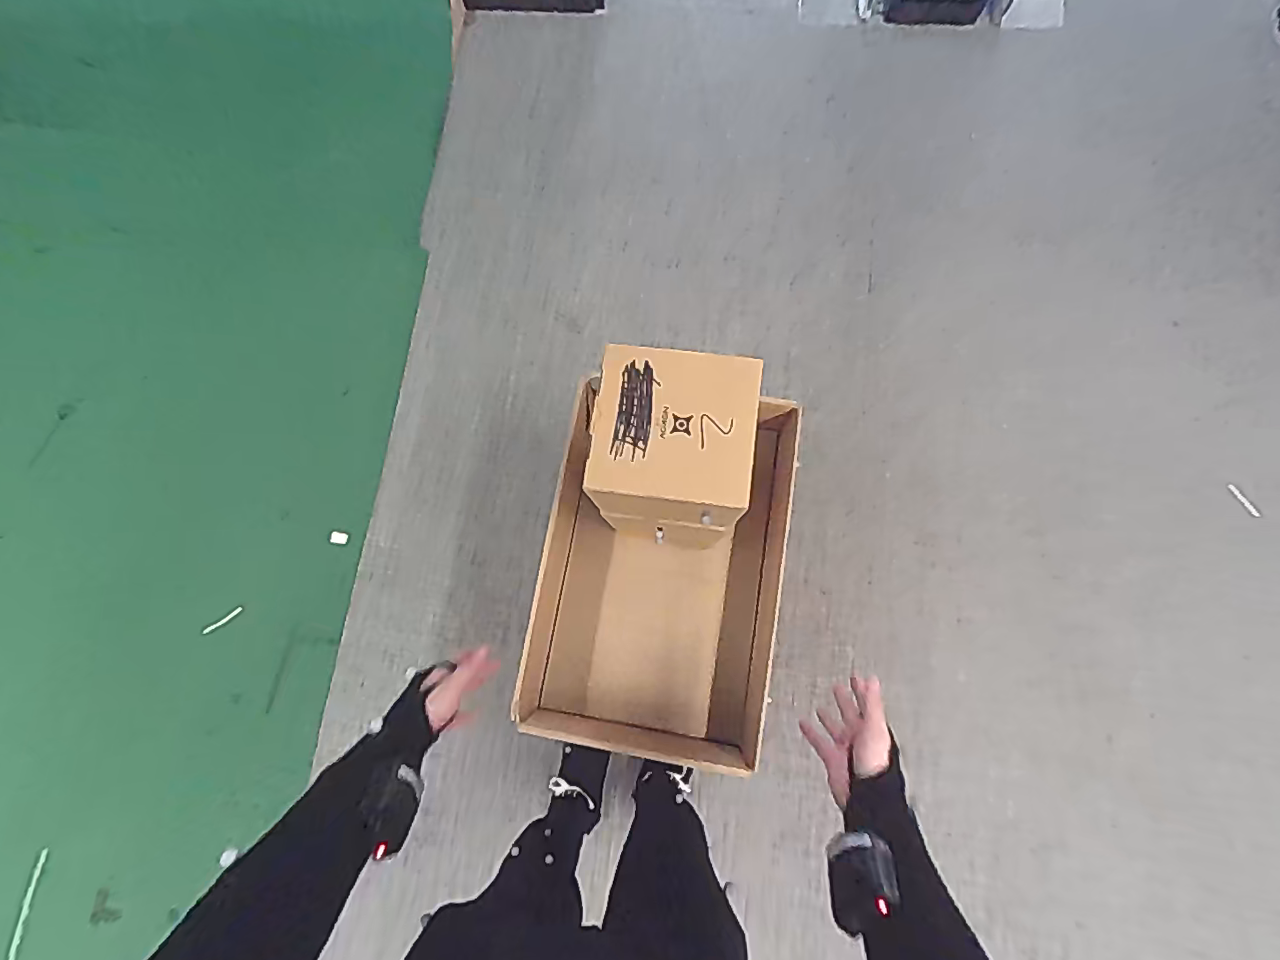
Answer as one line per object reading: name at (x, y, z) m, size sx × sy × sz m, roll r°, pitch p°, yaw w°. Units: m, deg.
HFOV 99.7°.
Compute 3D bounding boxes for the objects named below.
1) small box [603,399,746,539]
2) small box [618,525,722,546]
small box at (0.053, -0.007, 0.806) m, size 0.179 × 0.176 × 0.168 m, roll 7°, pitch 79°, yaw 6°
small box at (0.063, 0.022, 0.968) m, size 0.179 × 0.176 × 0.168 m, roll 9°, pitch 79°, yaw 5°
